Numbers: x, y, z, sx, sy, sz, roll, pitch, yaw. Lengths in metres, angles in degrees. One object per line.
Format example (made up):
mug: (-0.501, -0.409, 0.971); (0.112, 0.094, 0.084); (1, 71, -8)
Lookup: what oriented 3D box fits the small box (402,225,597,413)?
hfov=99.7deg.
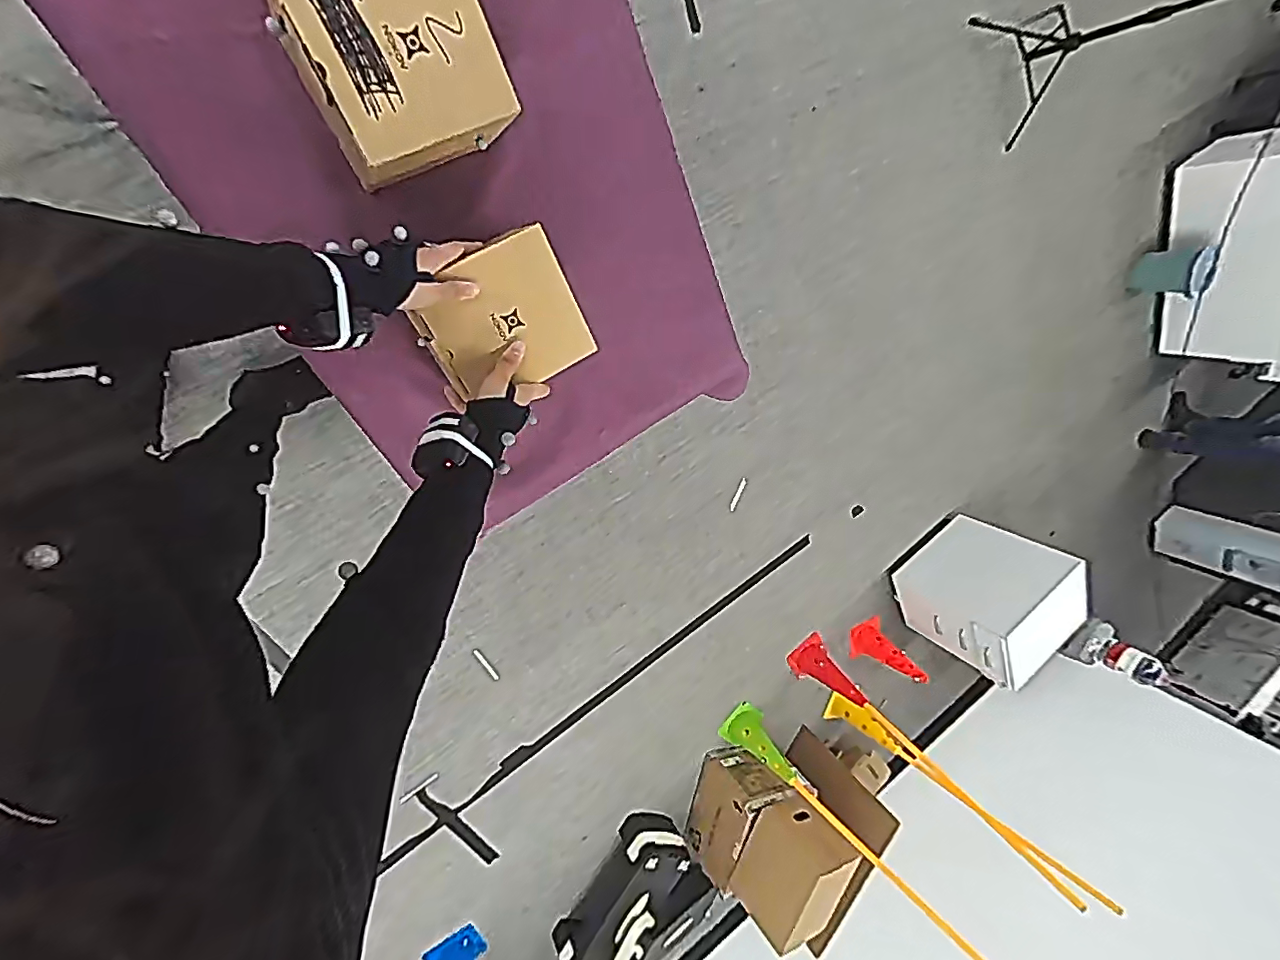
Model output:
small box: (-0.190, -0.215, 0.713); (0.179, 0.176, 0.168); (-33, 120, -13)
